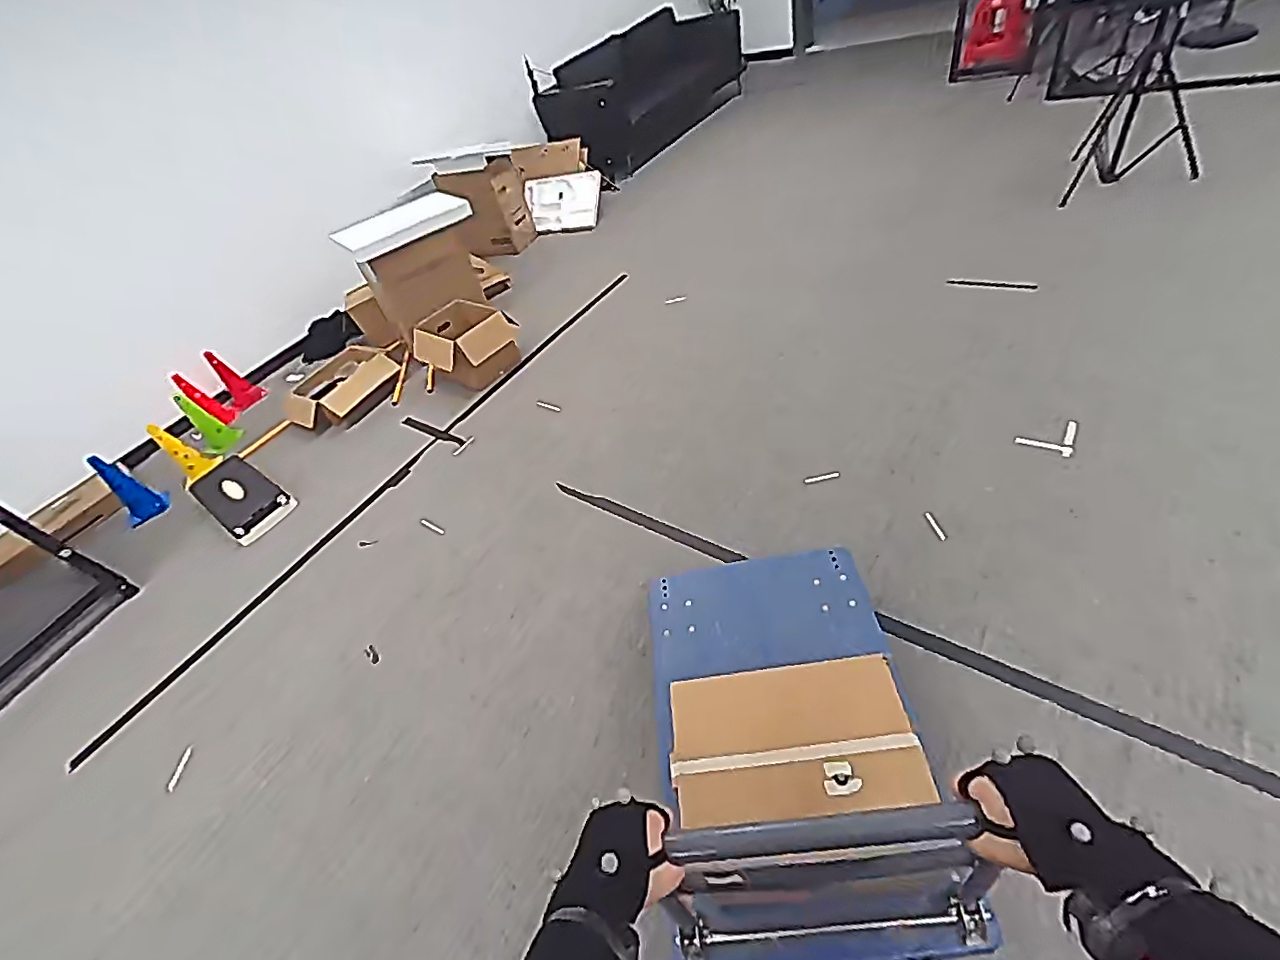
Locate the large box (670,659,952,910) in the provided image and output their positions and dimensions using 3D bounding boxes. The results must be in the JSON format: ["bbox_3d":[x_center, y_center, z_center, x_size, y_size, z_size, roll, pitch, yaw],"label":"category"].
[{"bbox_3d":[0.288,0.576,1.016,0.408,0.320,0.320,-10,45,7],"label":"large box"}]
